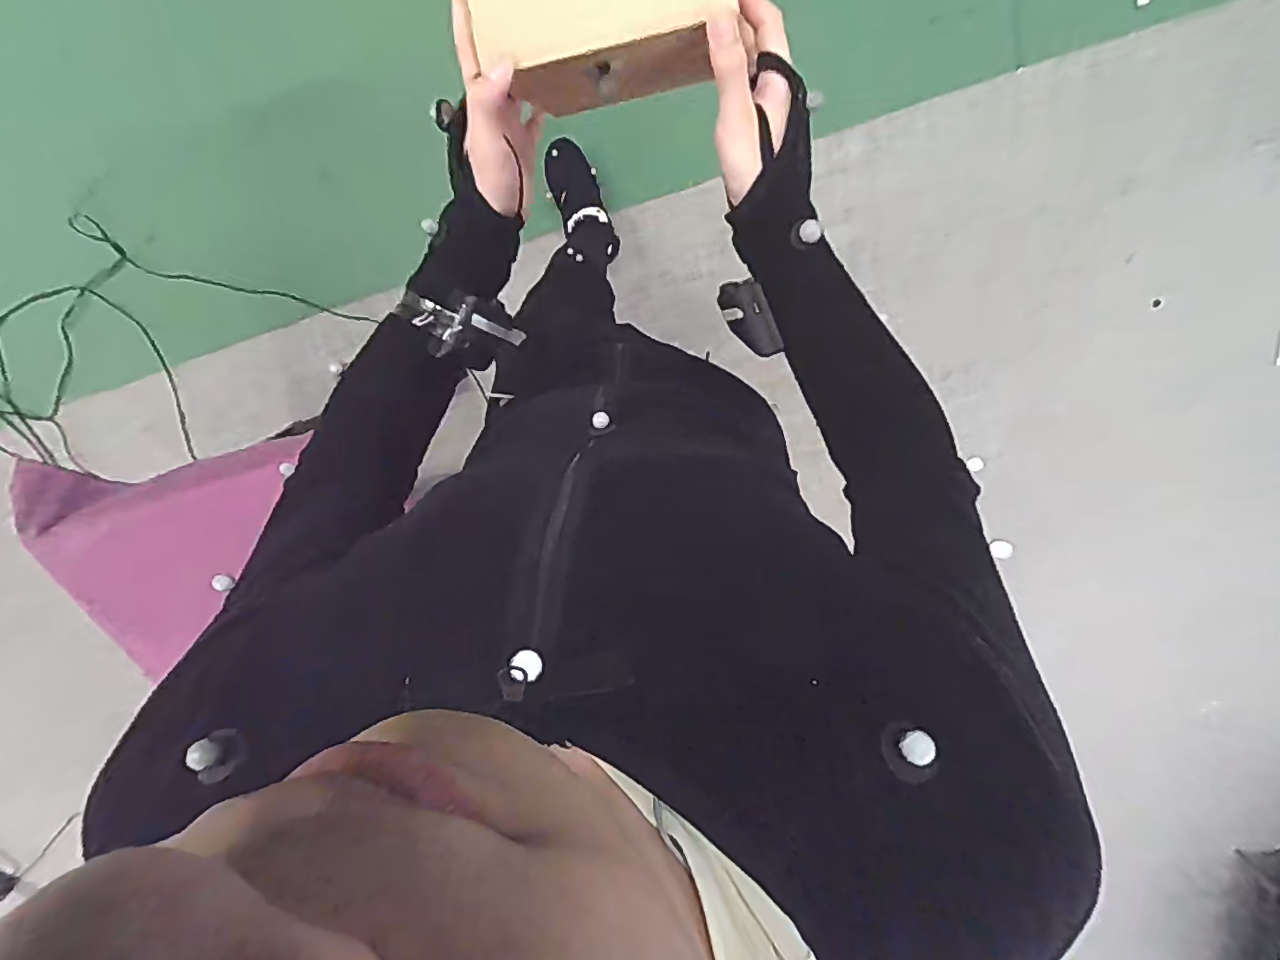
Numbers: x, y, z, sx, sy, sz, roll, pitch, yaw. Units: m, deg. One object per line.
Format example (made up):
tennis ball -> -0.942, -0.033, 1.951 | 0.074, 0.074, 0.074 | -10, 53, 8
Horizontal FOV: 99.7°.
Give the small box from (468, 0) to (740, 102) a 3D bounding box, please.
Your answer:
small box -> -0.023, -0.395, 0.386 | 0.179, 0.176, 0.168 | -4, 116, 13
